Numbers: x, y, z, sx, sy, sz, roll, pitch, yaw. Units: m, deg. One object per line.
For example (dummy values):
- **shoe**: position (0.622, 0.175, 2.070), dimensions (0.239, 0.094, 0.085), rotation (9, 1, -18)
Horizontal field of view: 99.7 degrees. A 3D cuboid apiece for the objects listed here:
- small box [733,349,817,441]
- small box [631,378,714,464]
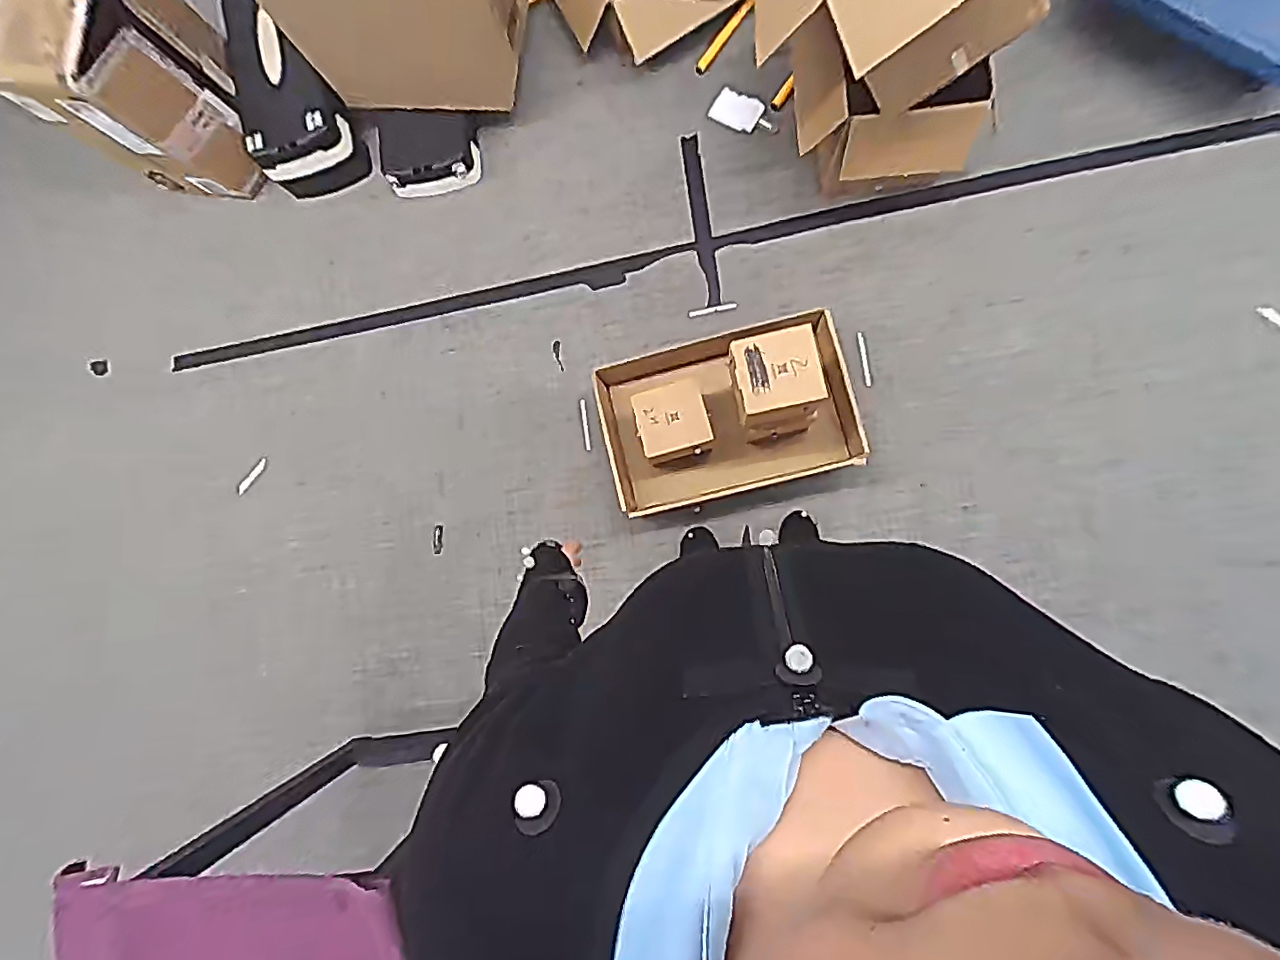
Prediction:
- **small box**: position (0.337, -0.210, 1.386), dimensions (0.168, 0.176, 0.179), rotation (-14, 85, 7)
- **small box**: position (0.086, -0.148, 1.411), dimensions (0.179, 0.176, 0.168), rotation (-16, 83, 5)
